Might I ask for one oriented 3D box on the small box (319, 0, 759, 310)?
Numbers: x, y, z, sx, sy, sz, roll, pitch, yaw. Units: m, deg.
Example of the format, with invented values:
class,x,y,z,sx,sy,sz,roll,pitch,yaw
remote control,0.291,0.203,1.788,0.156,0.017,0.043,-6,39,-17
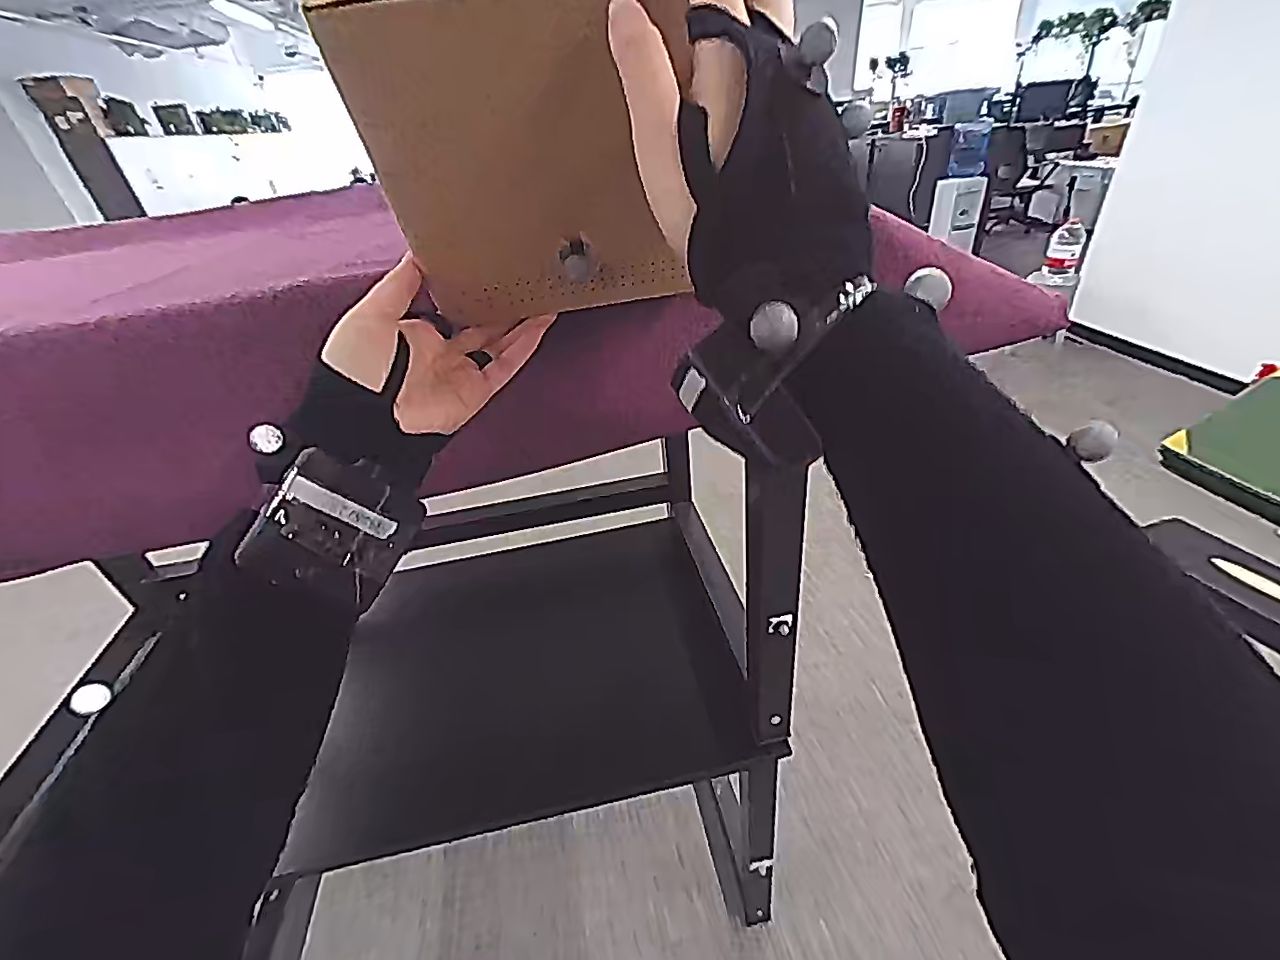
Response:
class,x,y,z,sx,sy,sz,roll,pitch,yaw
small box,-0.049,-0.224,0.311,0.179,0.176,0.168,-10,61,-4
